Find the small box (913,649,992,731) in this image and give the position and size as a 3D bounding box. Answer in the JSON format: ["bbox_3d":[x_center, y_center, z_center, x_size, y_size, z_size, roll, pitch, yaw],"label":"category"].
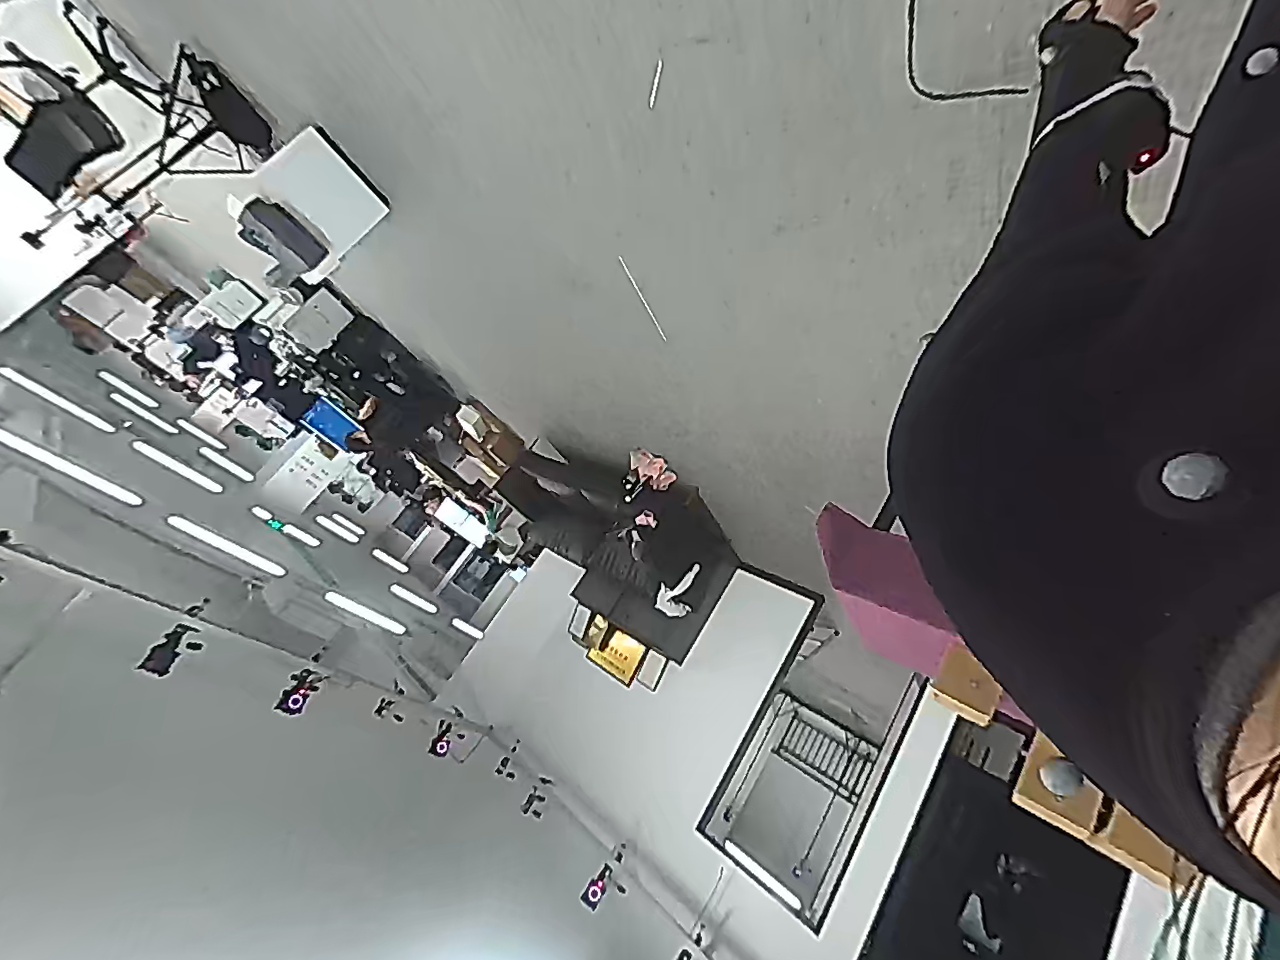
[{"bbox_3d":[1.016,0.680,1.759,0.179,0.176,0.168,22,158,33],"label":"small box"}]
